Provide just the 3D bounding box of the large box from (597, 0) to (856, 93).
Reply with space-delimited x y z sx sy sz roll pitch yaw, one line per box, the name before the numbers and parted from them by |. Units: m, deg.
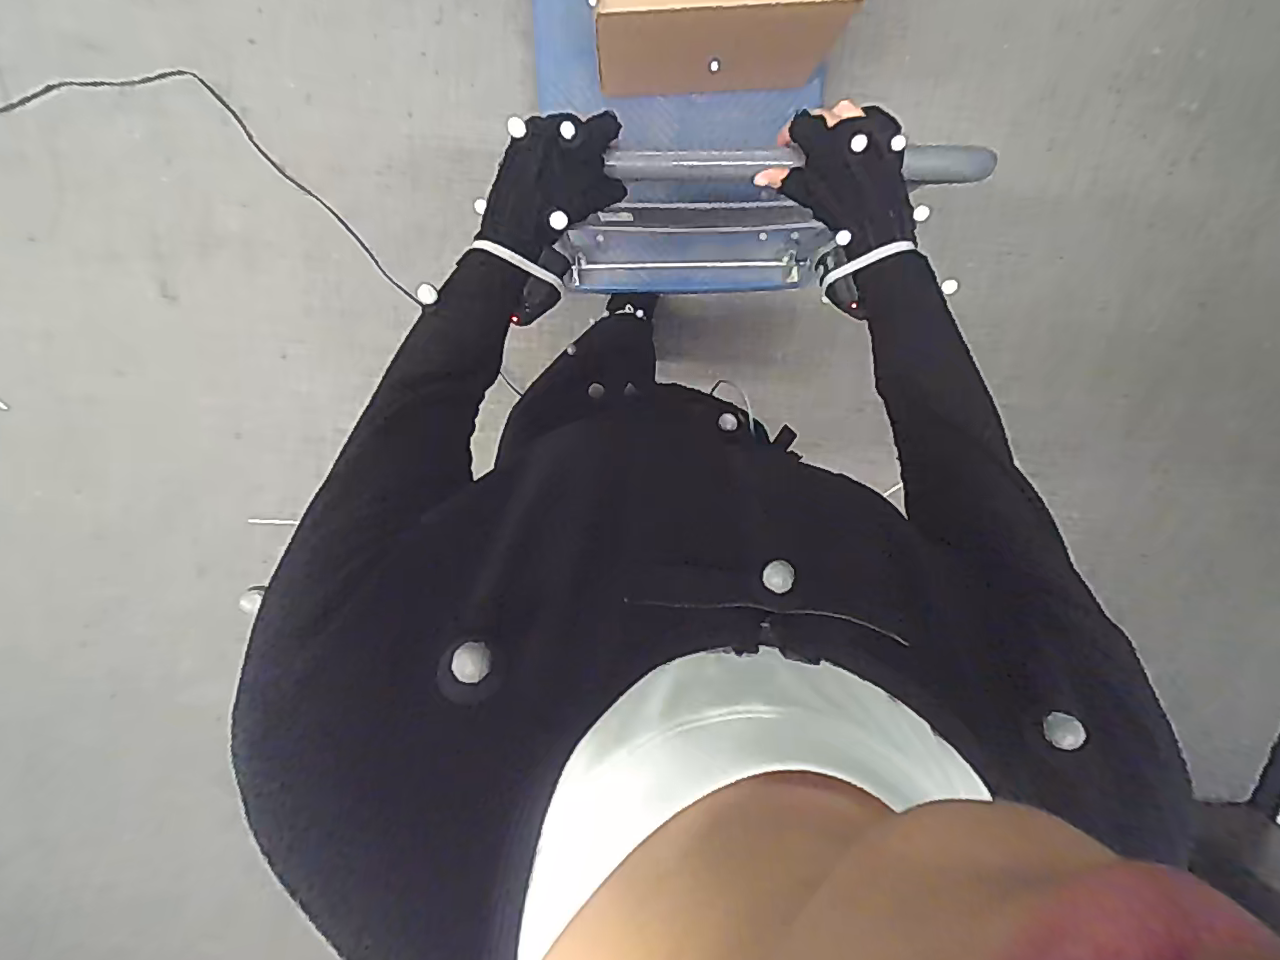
large box | 0.123 -0.899 0.910 0.408 0.320 0.320 -4 105 -1
